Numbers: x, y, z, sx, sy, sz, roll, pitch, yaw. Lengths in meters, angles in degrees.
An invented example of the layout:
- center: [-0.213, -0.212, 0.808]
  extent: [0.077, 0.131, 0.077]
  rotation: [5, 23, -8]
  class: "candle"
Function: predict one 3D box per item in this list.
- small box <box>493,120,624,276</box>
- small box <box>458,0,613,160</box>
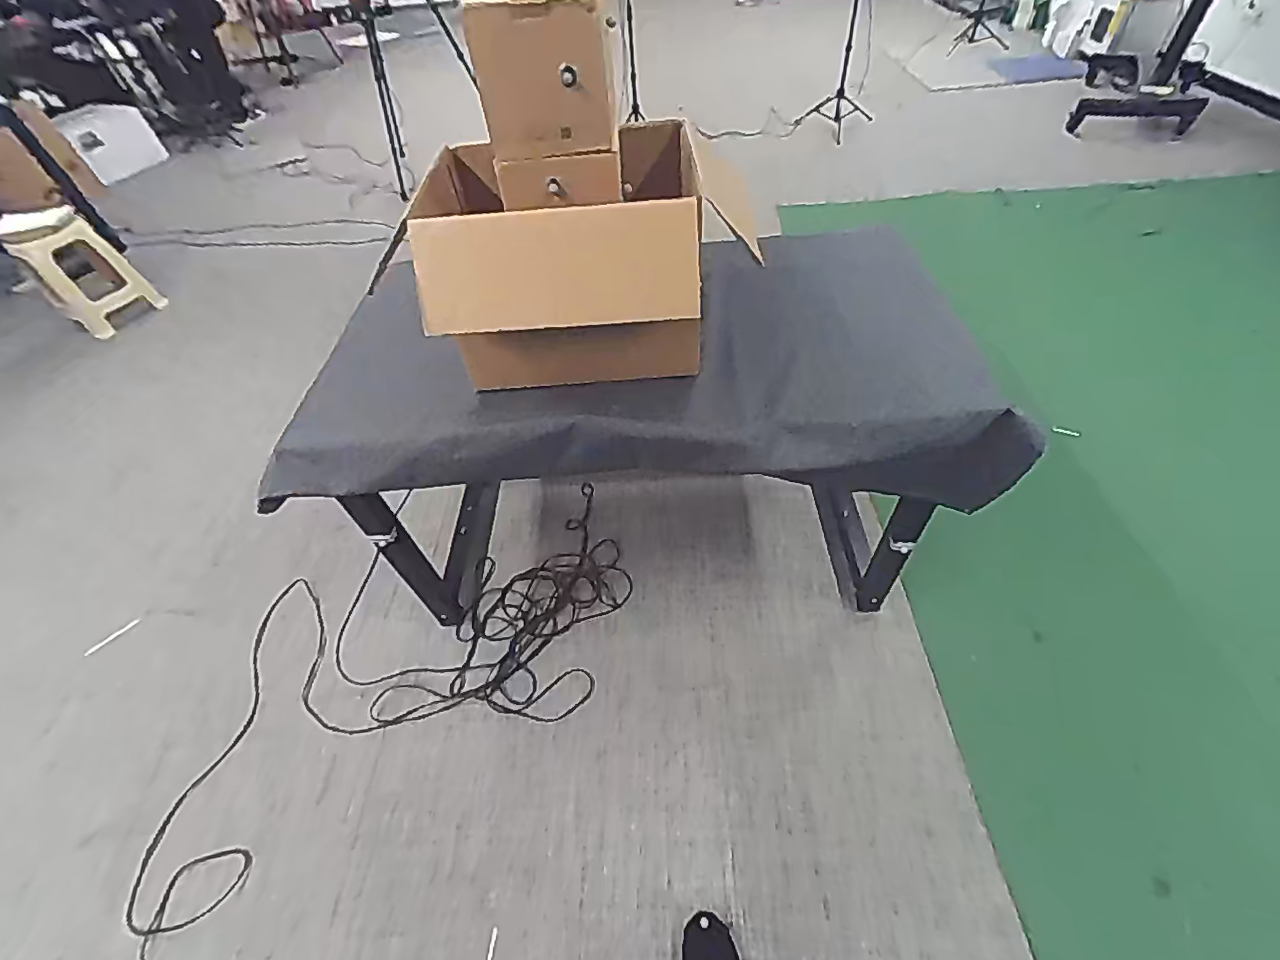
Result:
- center: [-0.116, -0.445, 0.861]
  extent: [0.179, 0.176, 0.168]
  rotation: [-4, 49, 2]
  class: "small box"
- center: [-0.128, -0.557, 0.743]
  extent: [0.168, 0.176, 0.179]
  rotation: [-2, 48, 2]
  class: "small box"
